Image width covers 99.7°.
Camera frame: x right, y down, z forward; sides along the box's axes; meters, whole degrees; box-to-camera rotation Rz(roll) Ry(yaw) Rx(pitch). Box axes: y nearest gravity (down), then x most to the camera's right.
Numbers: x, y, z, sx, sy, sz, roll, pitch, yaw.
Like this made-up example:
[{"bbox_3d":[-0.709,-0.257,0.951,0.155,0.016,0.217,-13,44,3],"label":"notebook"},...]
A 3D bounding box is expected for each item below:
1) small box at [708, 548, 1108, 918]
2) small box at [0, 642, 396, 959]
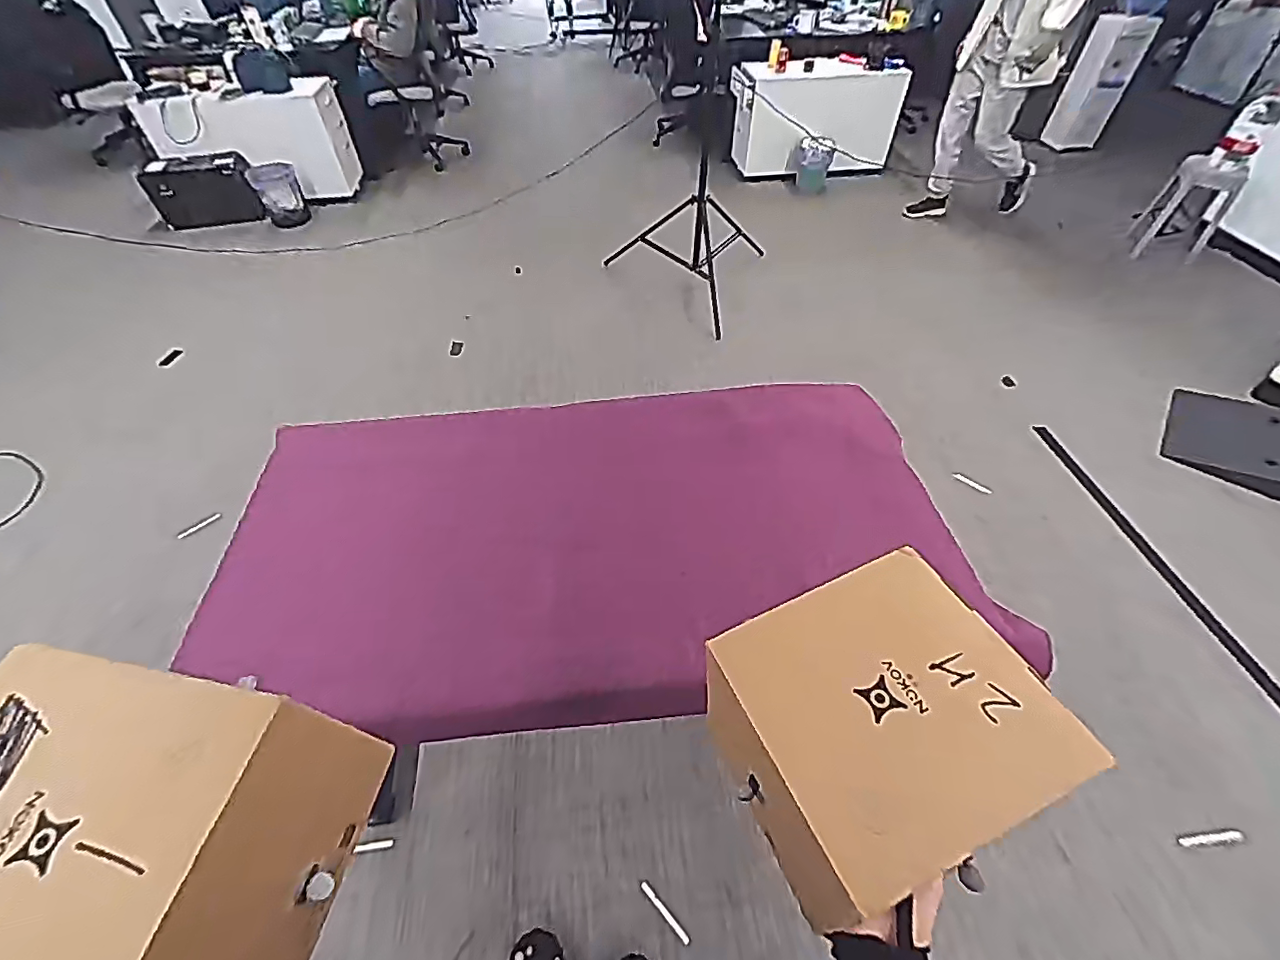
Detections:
[{"bbox_3d":[0.165,0.187,0.398,0.179,0.176,0.168,-21,50,-12],"label":"small box"},{"bbox_3d":[-0.291,0.220,0.334,0.179,0.176,0.168,9,56,6],"label":"small box"}]
